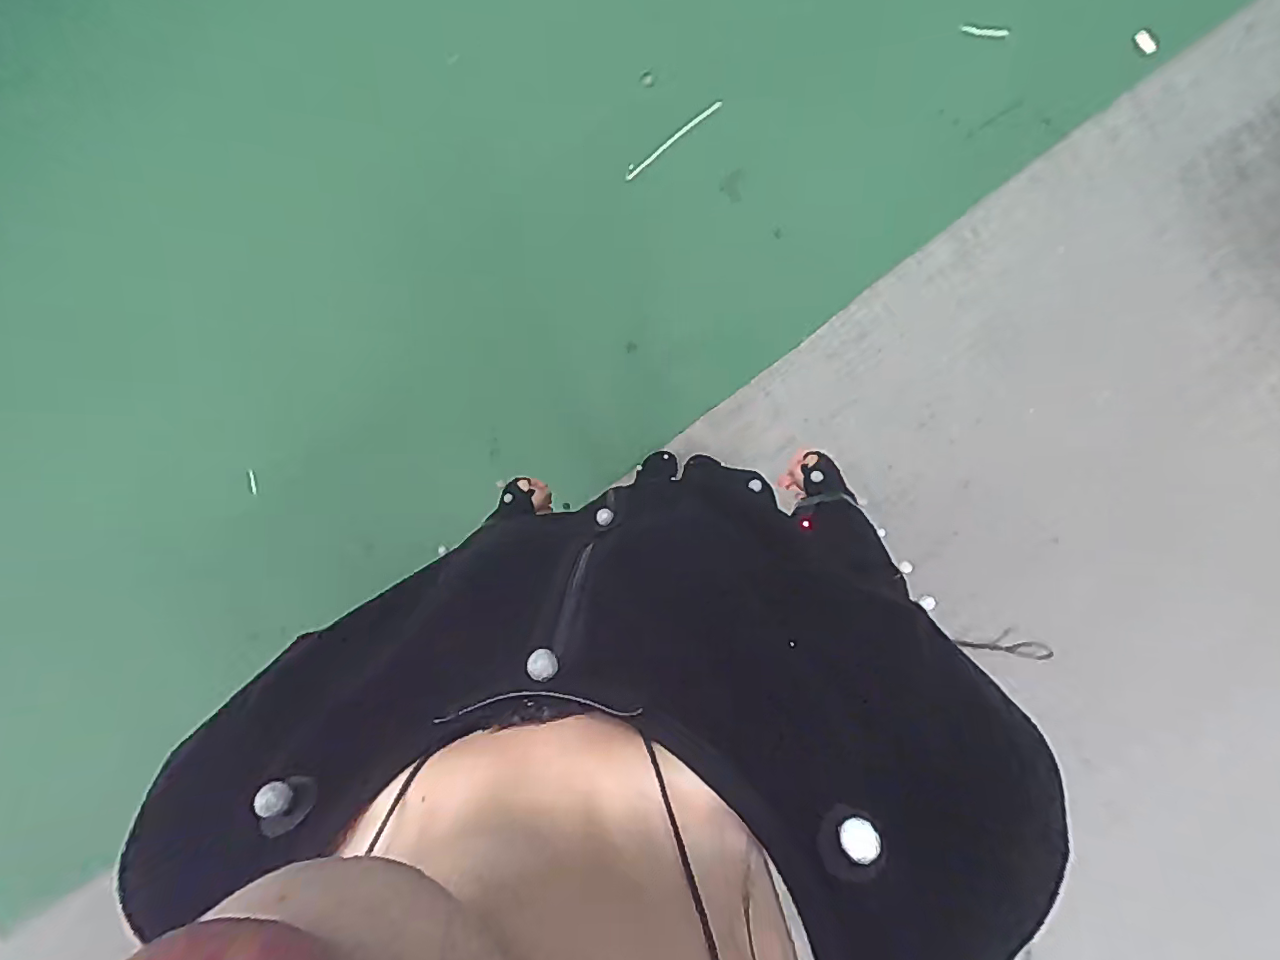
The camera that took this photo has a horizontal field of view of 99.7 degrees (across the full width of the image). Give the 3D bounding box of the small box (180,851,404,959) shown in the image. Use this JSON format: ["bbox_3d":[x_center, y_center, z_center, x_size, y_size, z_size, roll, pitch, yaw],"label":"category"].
[{"bbox_3d":[-0.416,0.574,0.619,0.168,0.176,0.179,-34,89,8],"label":"small box"}]
